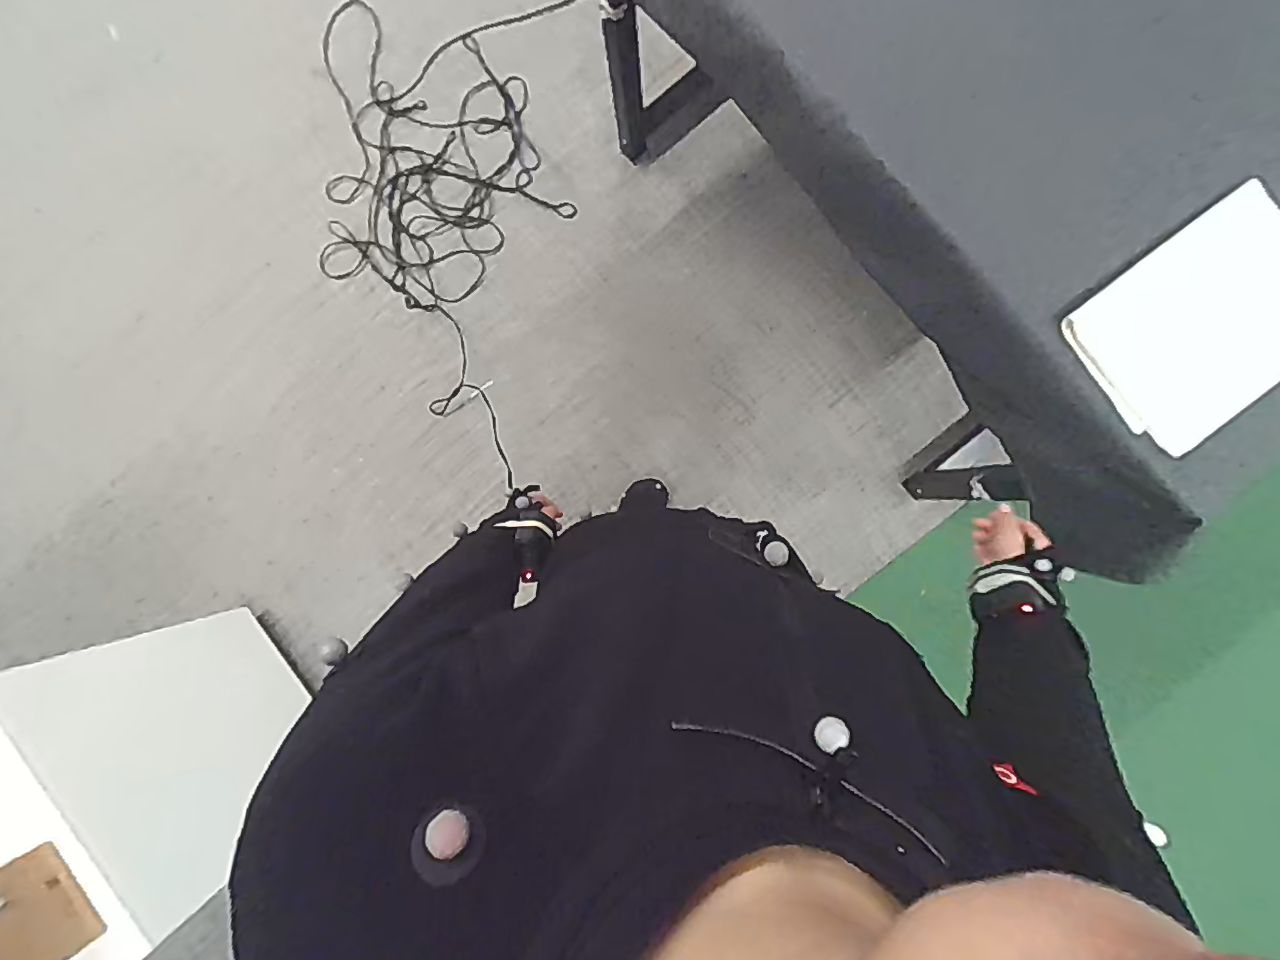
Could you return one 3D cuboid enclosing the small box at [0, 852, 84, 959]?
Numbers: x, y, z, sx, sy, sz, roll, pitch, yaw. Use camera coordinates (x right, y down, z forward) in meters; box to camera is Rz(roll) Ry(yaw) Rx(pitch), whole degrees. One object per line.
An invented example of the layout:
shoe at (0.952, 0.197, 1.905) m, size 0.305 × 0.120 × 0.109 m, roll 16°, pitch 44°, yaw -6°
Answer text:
small box at (-0.917, 0.657, 0.726) m, size 0.179 × 0.176 × 0.168 m, roll -37°, pitch 85°, yaw 3°
